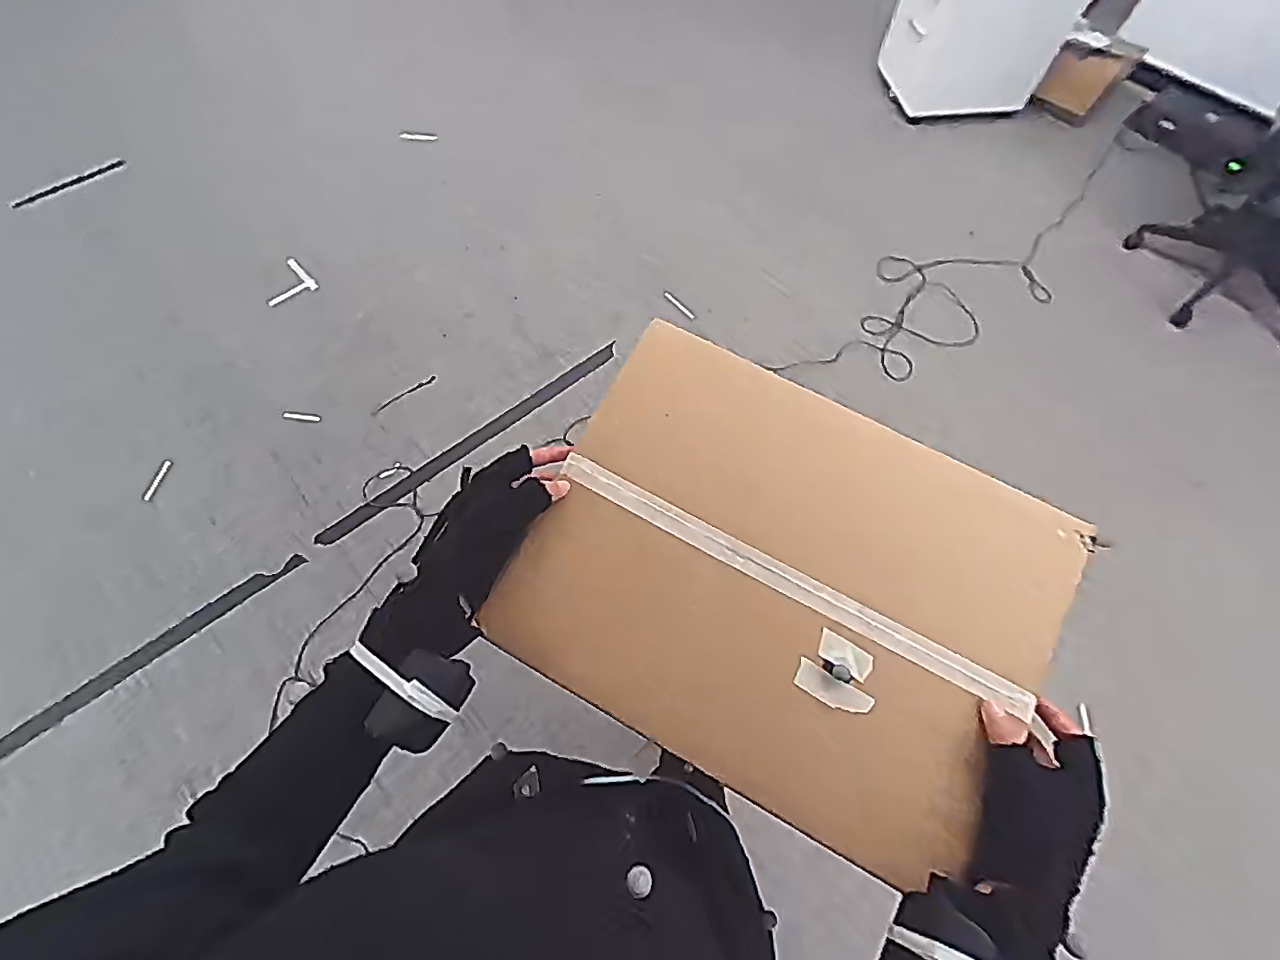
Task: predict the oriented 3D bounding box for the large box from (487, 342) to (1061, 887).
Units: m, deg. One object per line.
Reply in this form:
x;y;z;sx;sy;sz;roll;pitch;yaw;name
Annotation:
0.116;0.120;0.597;0.408;0.320;0.320;28;79;8;large box
